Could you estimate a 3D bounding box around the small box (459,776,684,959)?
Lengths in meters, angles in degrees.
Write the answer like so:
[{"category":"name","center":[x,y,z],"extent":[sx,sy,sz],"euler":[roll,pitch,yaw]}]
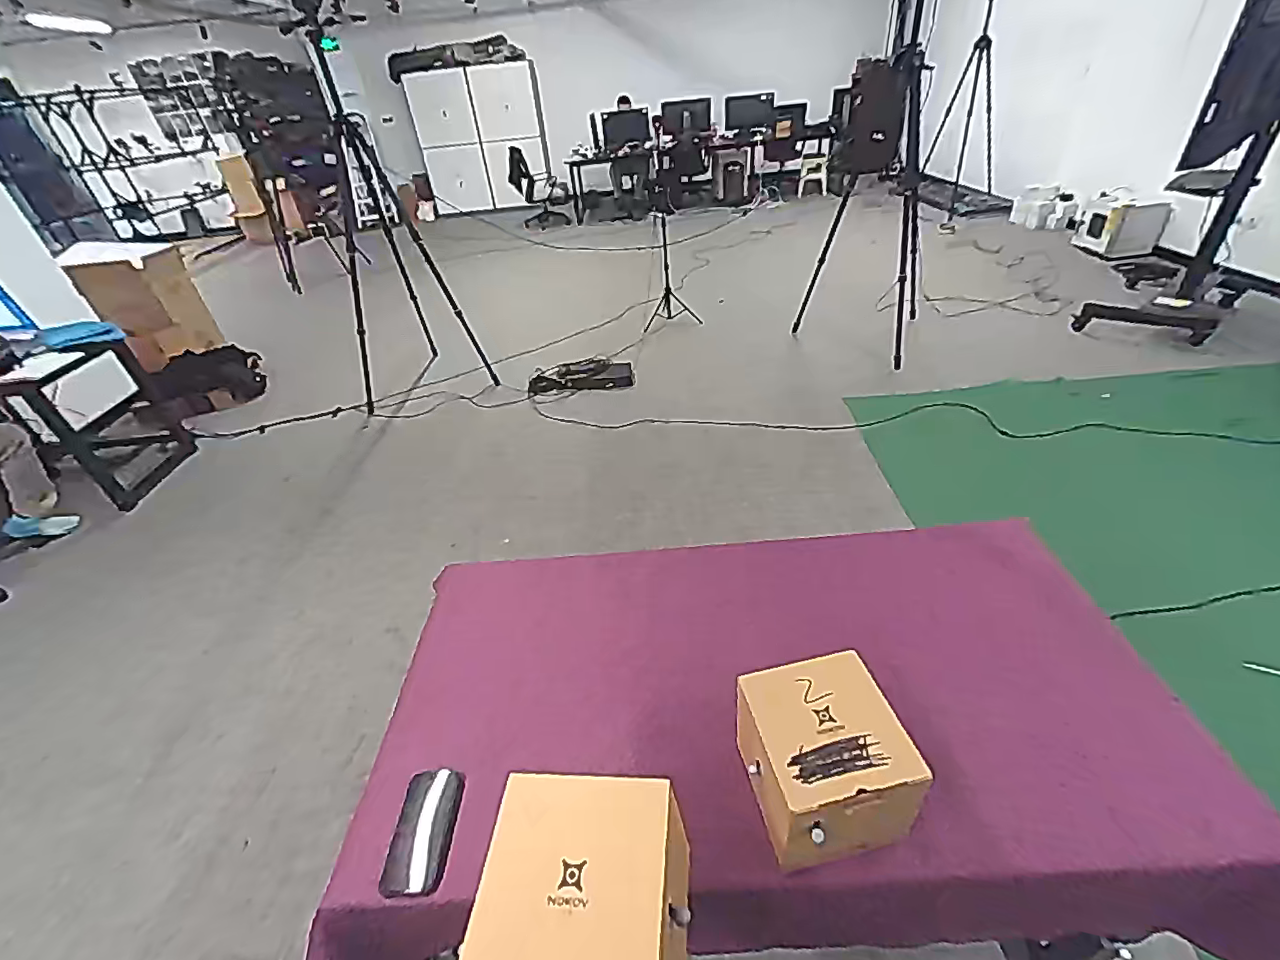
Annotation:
[{"category":"small box","center":[-0.049,0.415,0.520],"extent":[0.168,0.176,0.179],"euler":[-3,39,10]}]
